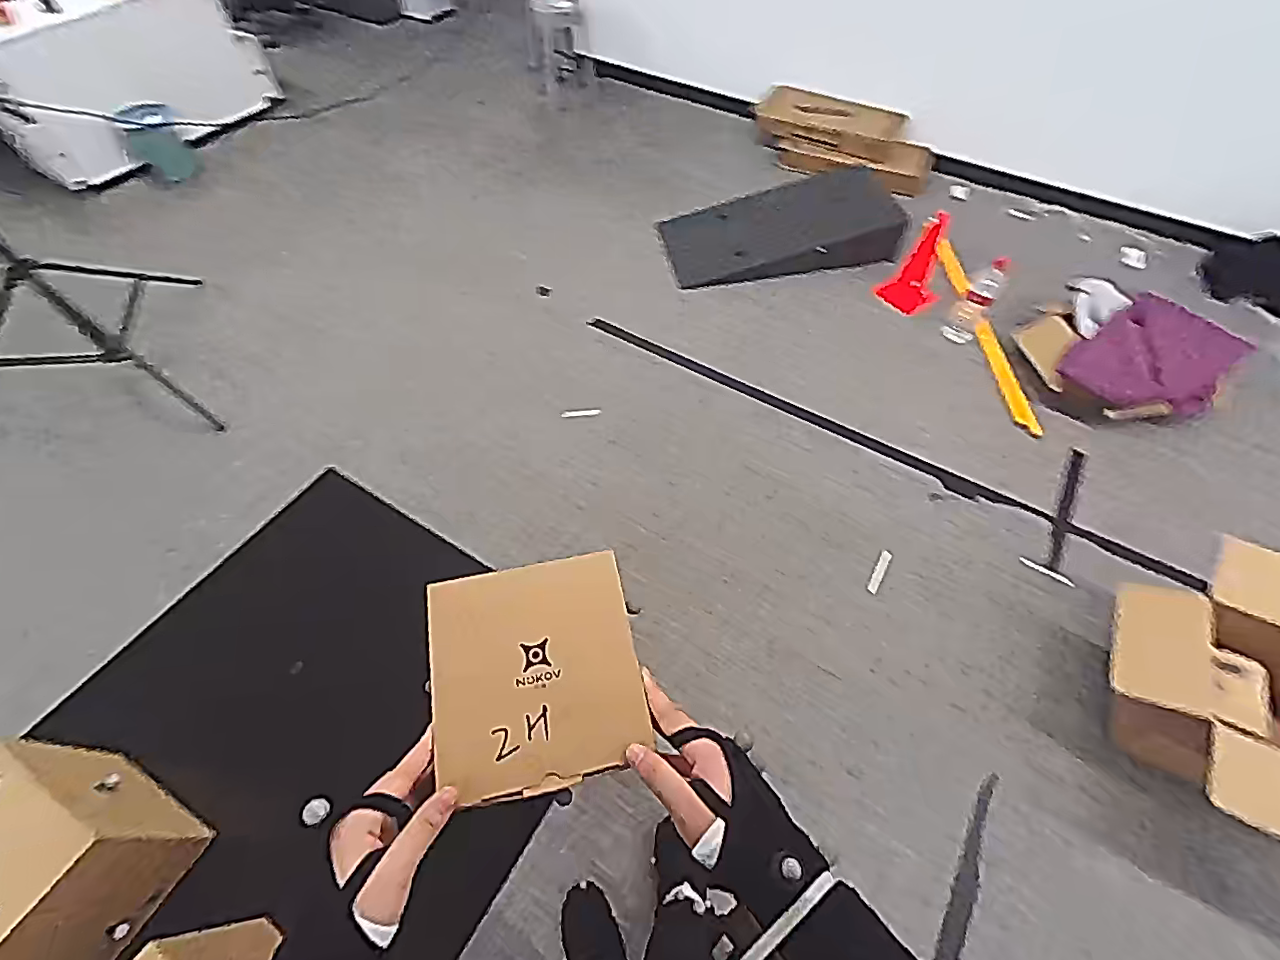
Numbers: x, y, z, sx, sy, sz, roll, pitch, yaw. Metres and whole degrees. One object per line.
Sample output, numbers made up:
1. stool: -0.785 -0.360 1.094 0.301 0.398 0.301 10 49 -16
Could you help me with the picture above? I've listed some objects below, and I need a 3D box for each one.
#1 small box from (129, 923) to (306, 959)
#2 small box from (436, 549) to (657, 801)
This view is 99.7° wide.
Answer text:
1. small box: -0.379 0.517 0.447 0.168 0.176 0.179 26 59 16
2. small box: -0.086 0.188 0.509 0.168 0.176 0.179 -9 61 -8
